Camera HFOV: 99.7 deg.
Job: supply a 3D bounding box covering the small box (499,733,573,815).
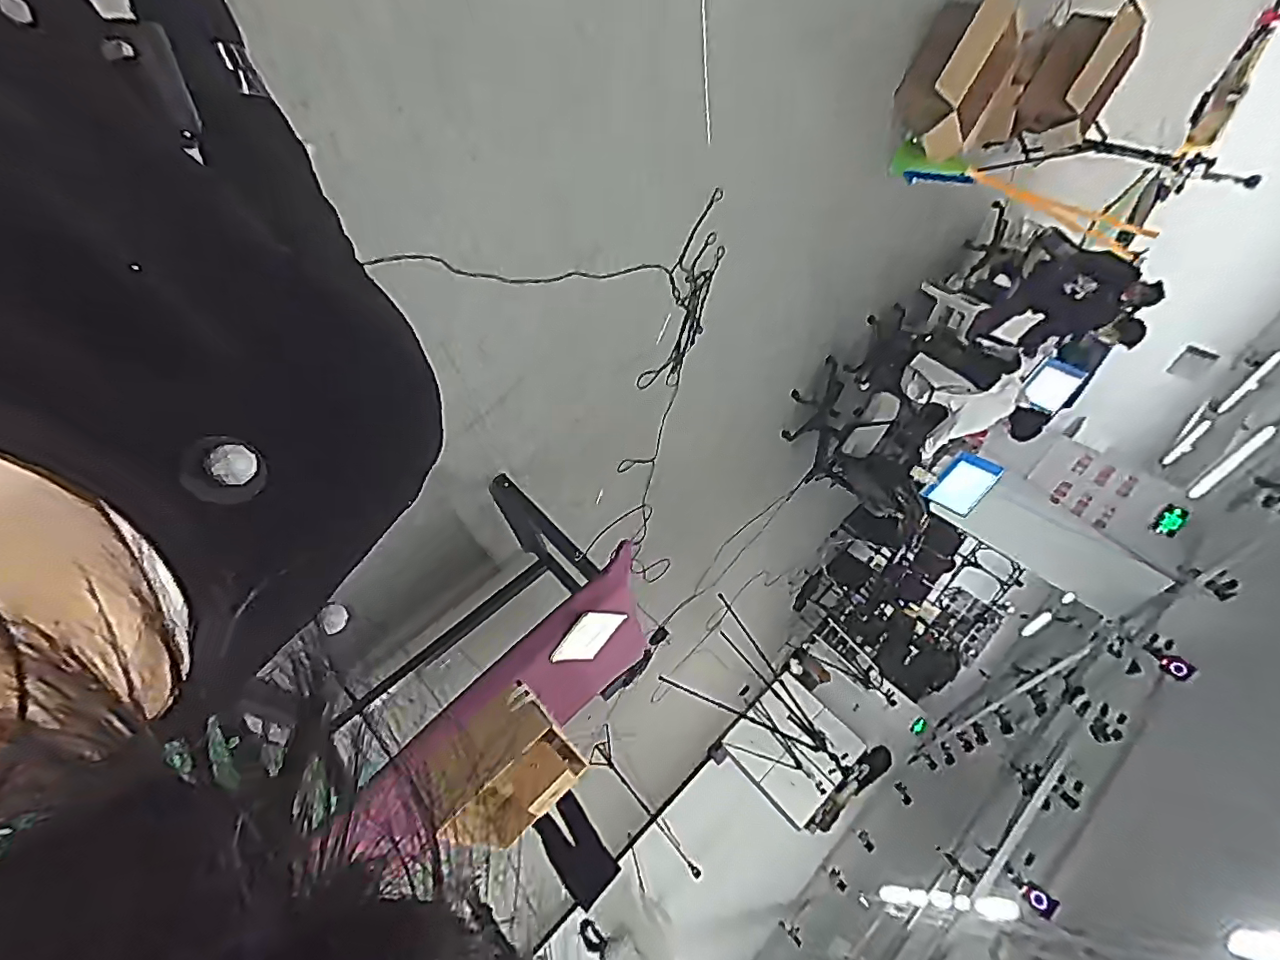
[{"bbox_3d":[-0.355,0.999,1.844,0.168,0.176,0.179,-37,146,-21],"label":"small box"}]
